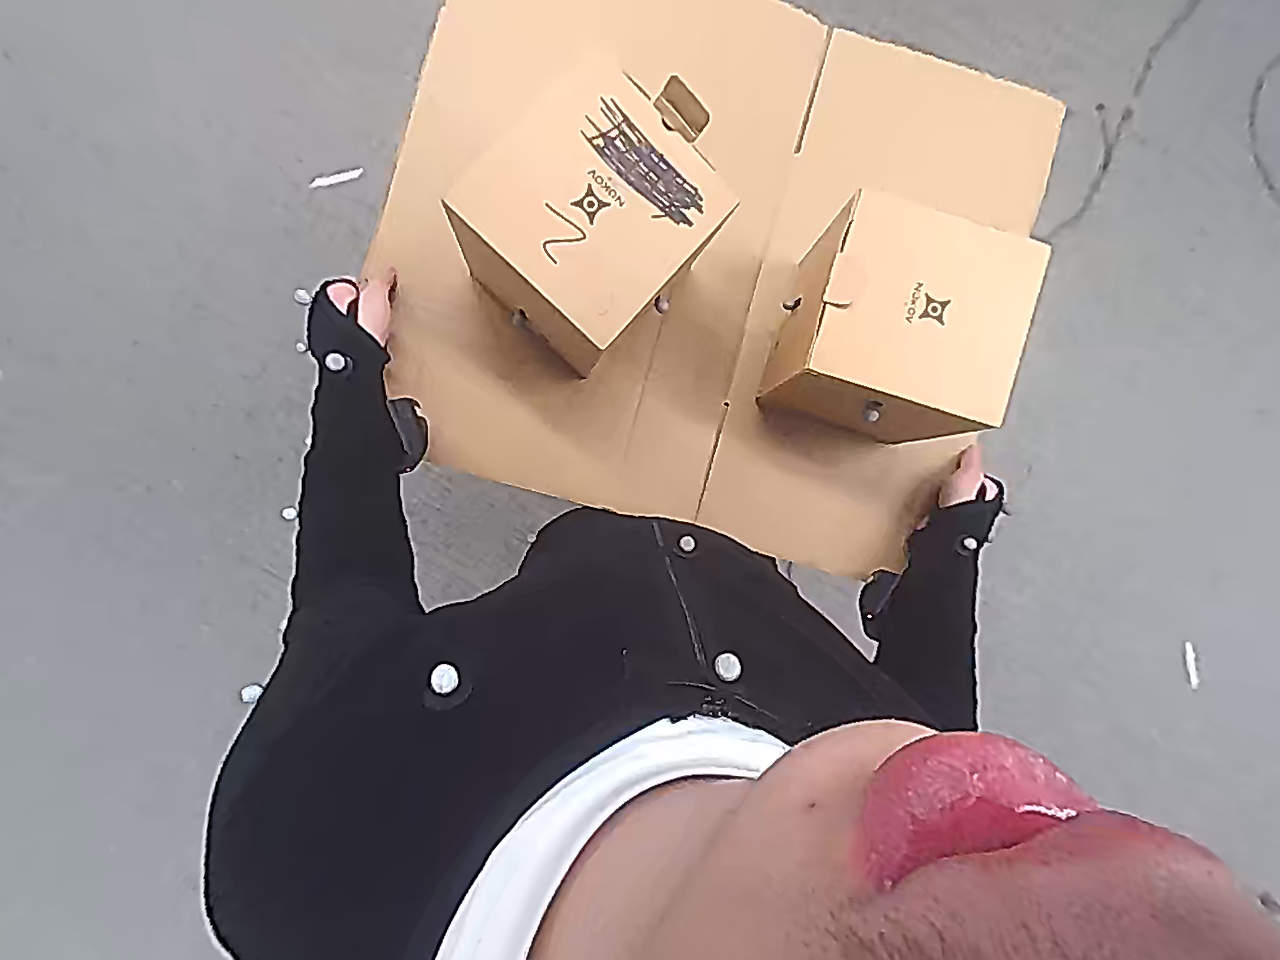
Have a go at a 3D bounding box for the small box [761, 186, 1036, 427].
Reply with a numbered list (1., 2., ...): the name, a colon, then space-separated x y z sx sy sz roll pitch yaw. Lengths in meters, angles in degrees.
1. small box: 0.244 -0.157 0.555 0.179 0.176 0.168 16 89 -1
